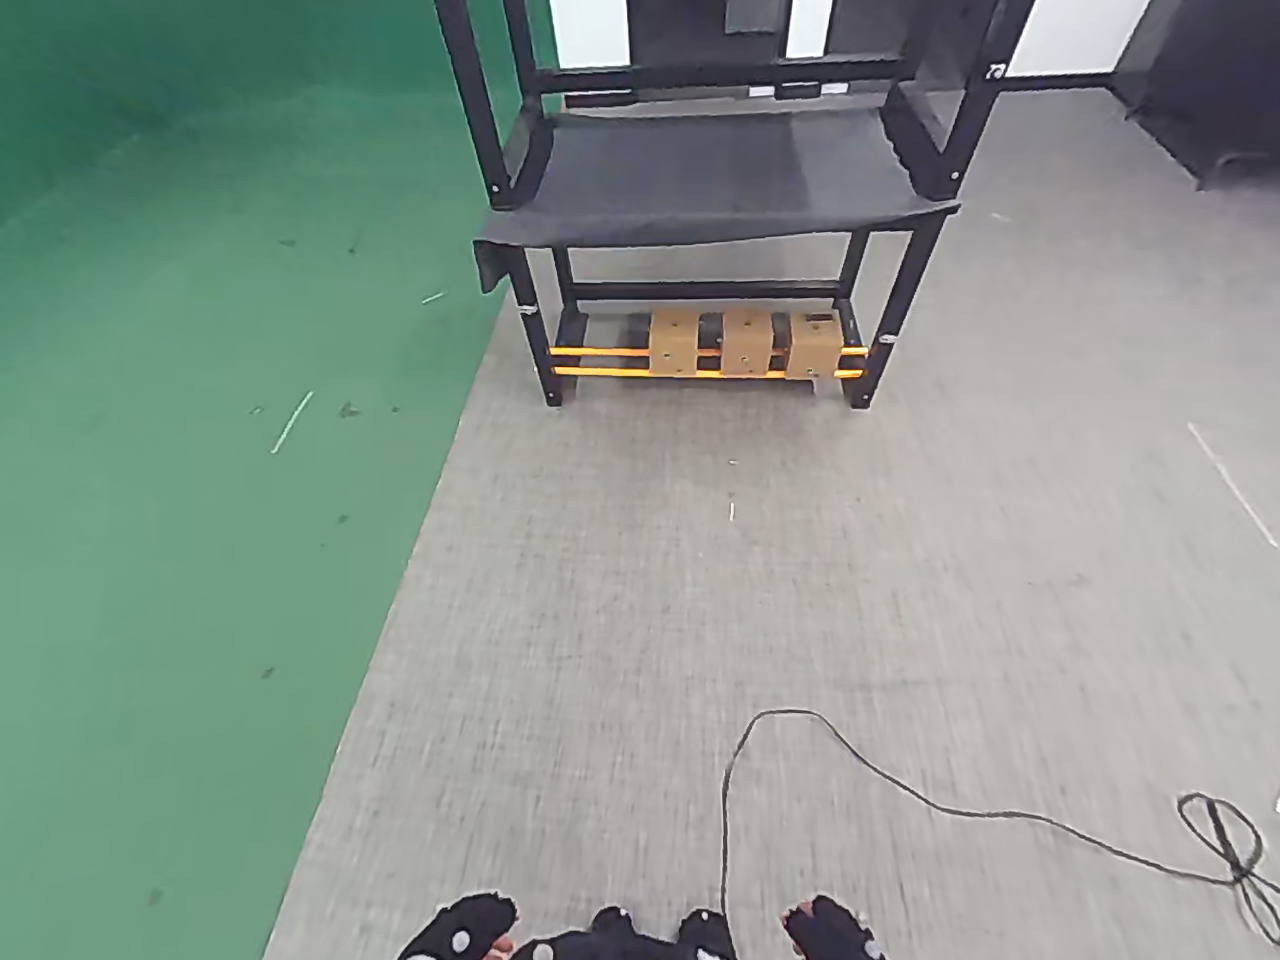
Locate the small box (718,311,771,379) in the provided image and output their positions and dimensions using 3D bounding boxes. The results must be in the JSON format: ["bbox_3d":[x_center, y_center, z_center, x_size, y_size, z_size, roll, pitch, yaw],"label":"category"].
[{"bbox_3d":[0.365,-0.473,1.903,0.168,0.176,0.179,1,55,5],"label":"small box"}]

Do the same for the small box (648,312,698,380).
[{"bbox_3d":[0.119,-0.475,1.923,0.168,0.176,0.179,3,55,5],"label":"small box"}]
